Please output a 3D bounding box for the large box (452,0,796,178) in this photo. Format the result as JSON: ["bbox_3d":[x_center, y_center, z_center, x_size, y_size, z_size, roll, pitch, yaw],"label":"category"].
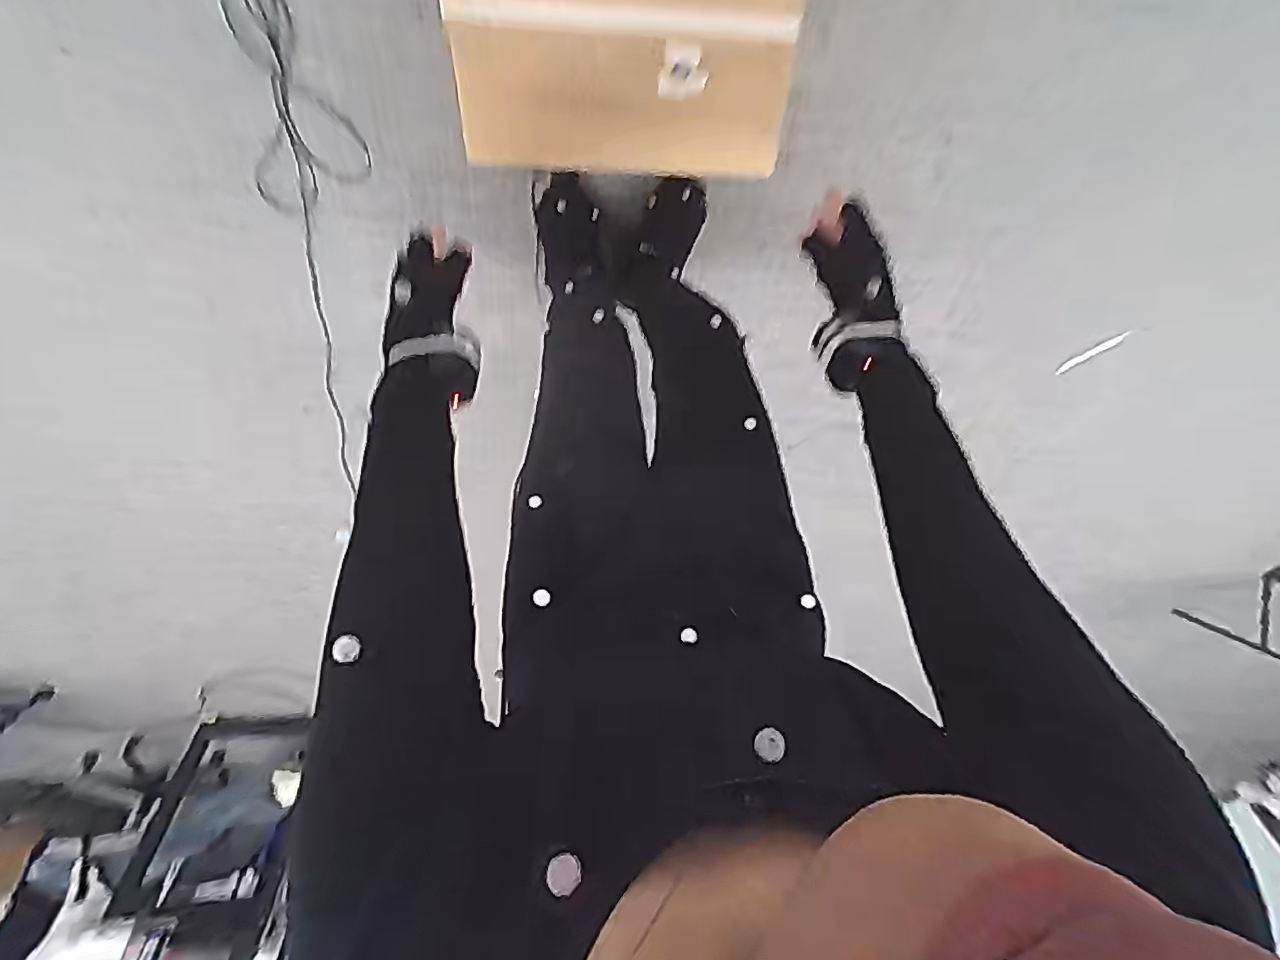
[{"bbox_3d":[-0.031,-0.627,0.747,0.408,0.320,0.320,-1,132,-6],"label":"large box"}]
